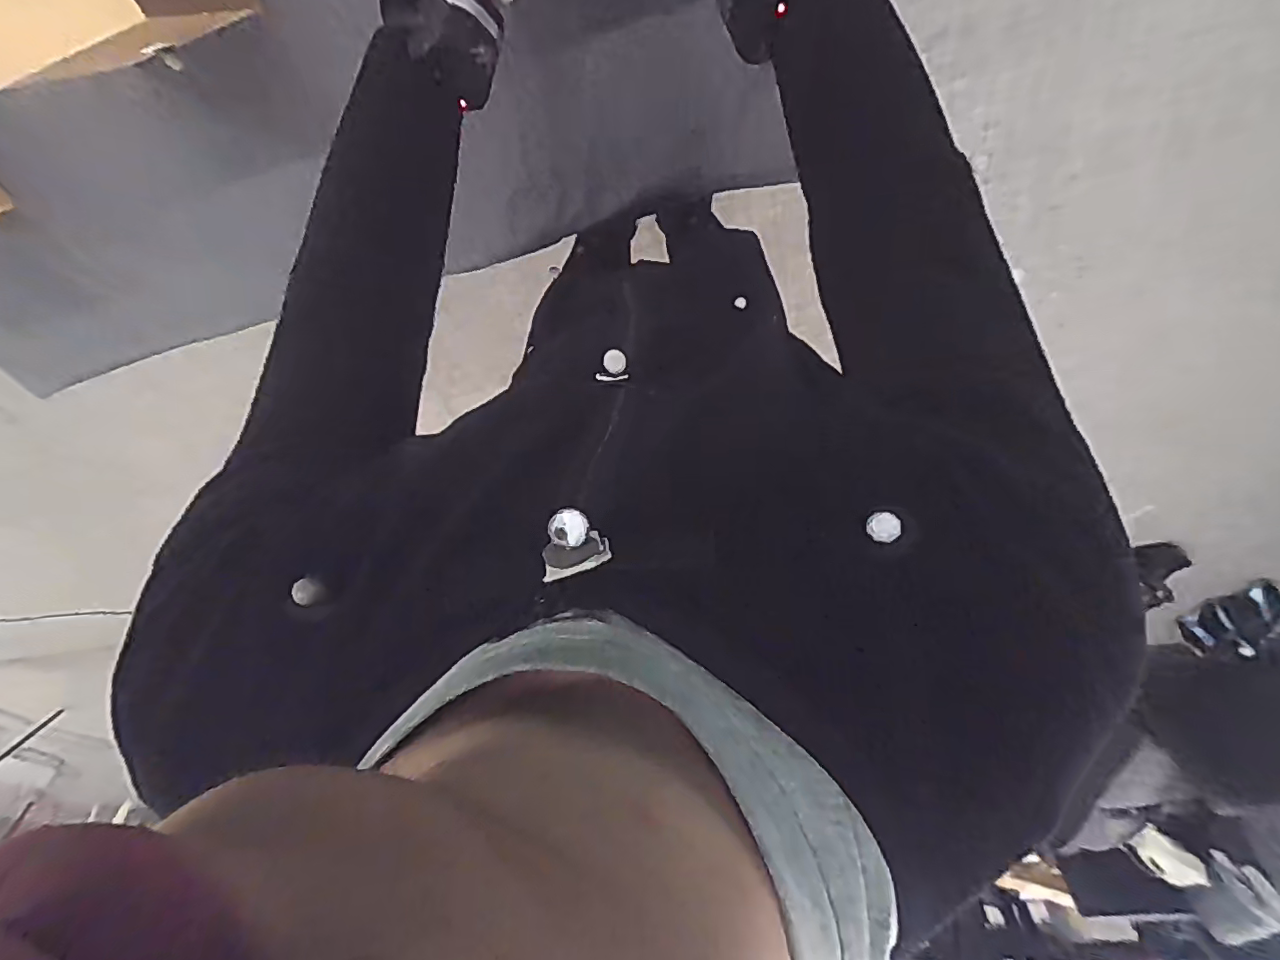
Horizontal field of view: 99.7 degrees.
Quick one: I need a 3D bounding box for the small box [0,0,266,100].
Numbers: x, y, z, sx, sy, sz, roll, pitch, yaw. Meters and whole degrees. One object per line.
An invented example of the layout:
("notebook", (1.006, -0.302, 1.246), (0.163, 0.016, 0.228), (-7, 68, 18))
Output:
("small box", (-0.453, -0.435, 0.420), (0.168, 0.176, 0.179), (-11, 133, 13))
